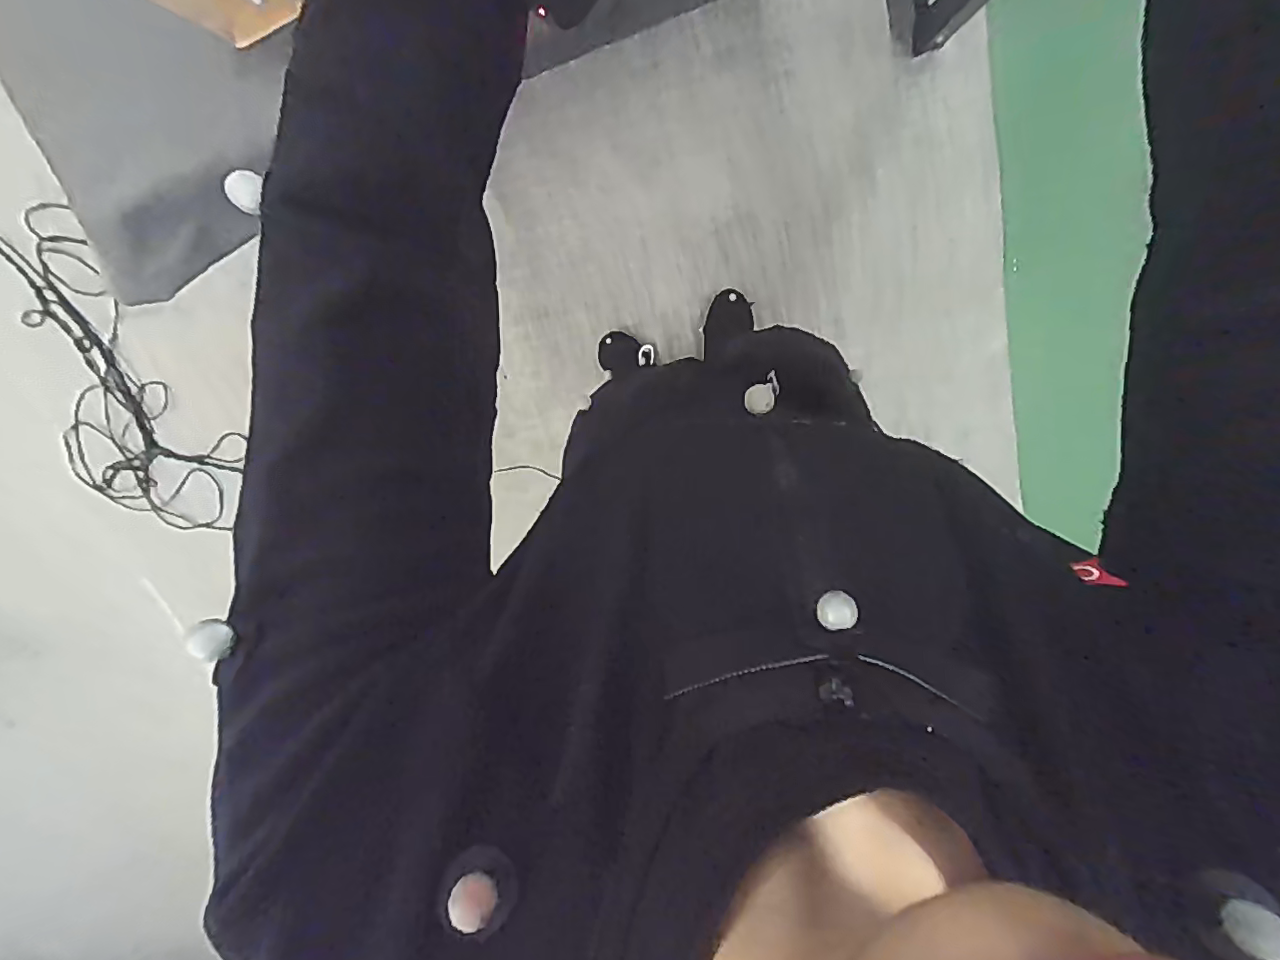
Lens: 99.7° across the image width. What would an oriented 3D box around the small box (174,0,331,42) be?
[{"bbox_3d":[-0.349,-0.495,0.412,0.168,0.176,0.179,-18,107,11],"label":"small box"}]
